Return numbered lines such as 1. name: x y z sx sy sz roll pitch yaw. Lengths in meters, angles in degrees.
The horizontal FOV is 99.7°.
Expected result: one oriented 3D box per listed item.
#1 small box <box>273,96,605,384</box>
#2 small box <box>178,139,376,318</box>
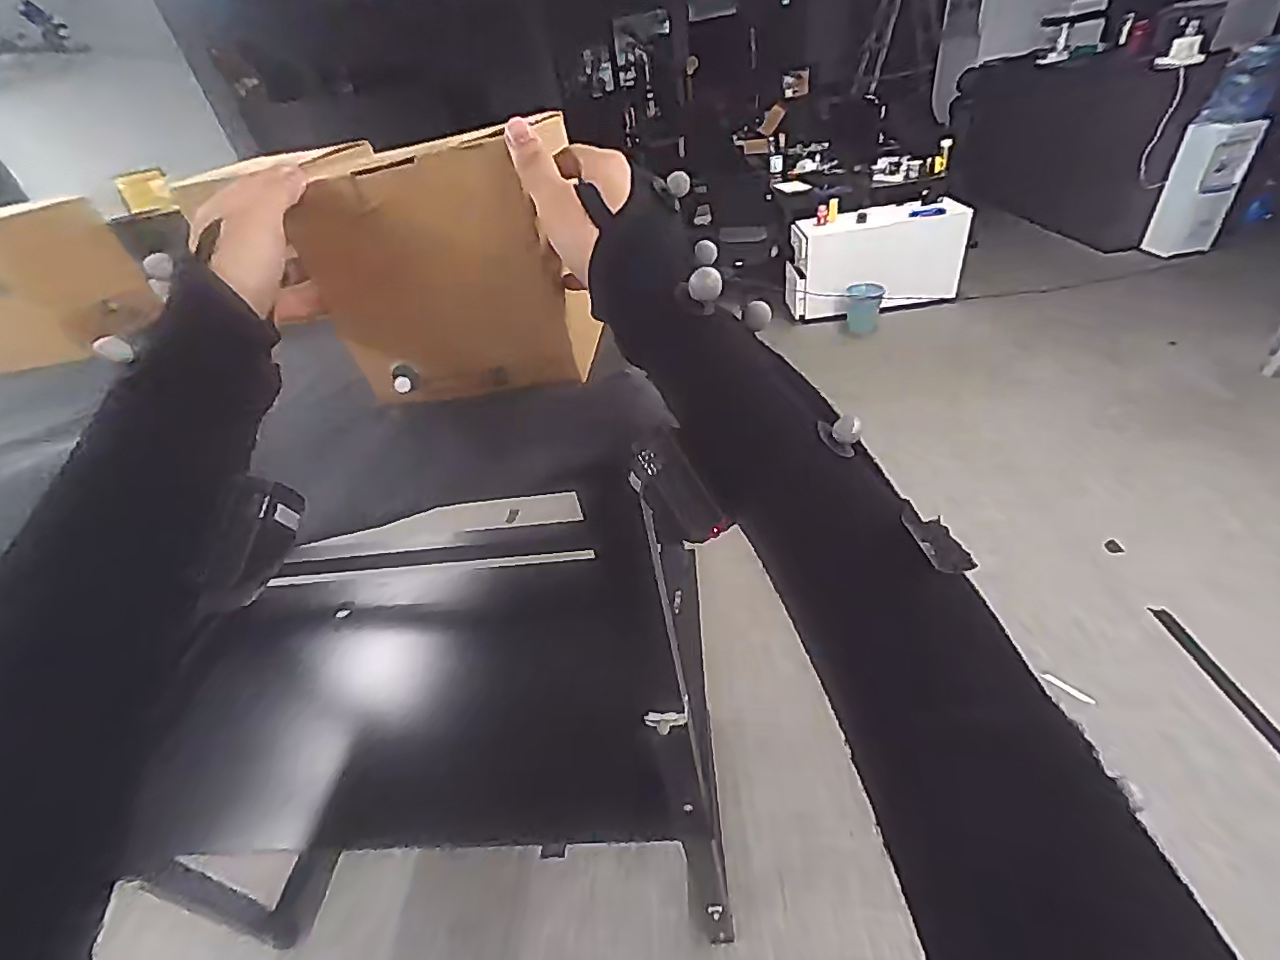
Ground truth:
1. small box: -0.132 -0.187 0.440 0.168 0.176 0.179 -7 36 10
2. small box: -0.418 -0.325 0.701 0.168 0.176 0.179 -7 37 6
